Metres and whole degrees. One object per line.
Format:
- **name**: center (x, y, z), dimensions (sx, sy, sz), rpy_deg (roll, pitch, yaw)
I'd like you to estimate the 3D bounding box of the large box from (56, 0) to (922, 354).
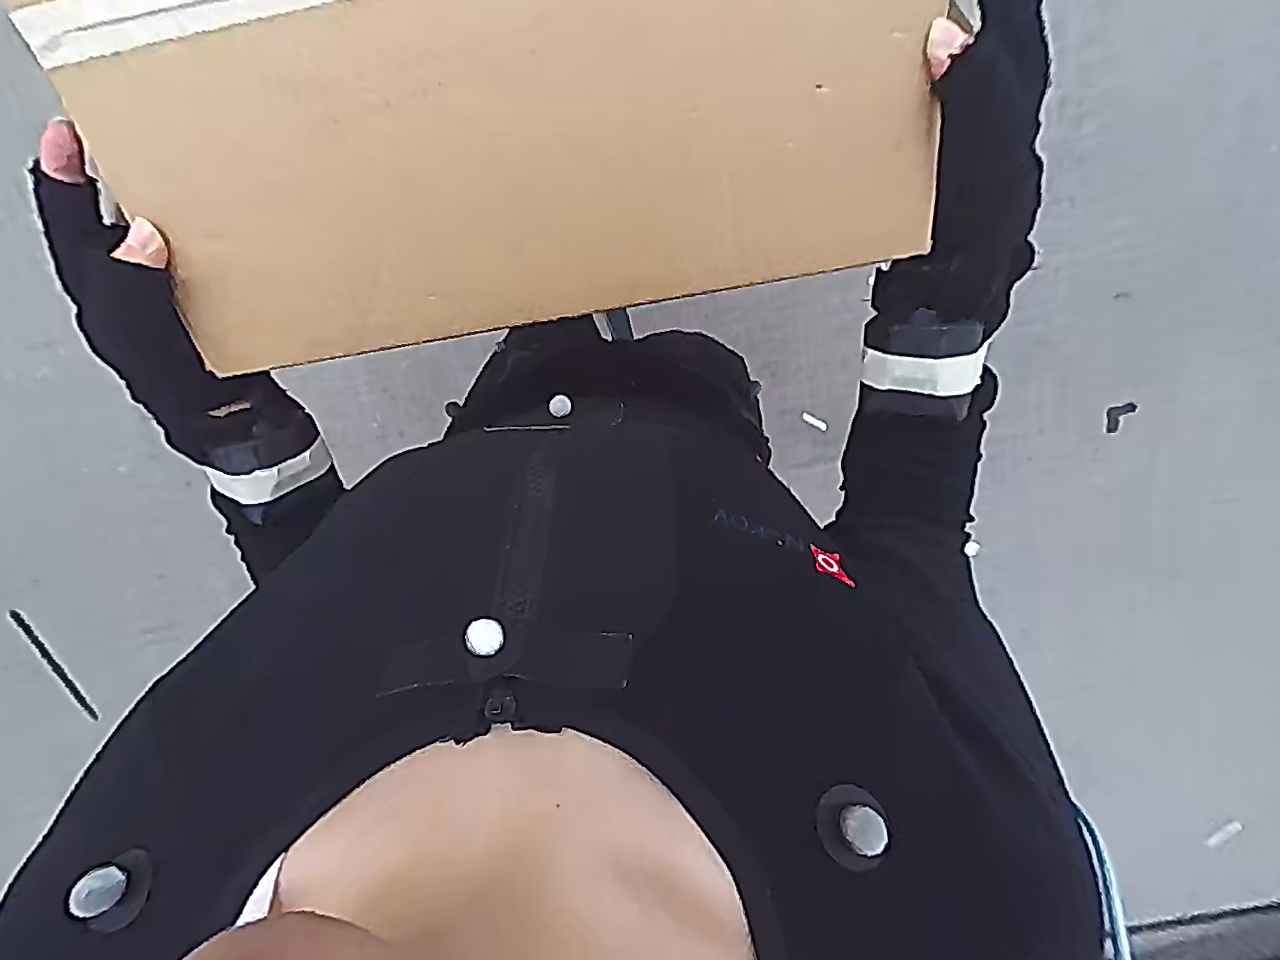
- **large box**: center (-0.075, -0.306, 0.374), dimensions (0.408, 0.320, 0.320), rpy_deg (-9, 117, 4)
